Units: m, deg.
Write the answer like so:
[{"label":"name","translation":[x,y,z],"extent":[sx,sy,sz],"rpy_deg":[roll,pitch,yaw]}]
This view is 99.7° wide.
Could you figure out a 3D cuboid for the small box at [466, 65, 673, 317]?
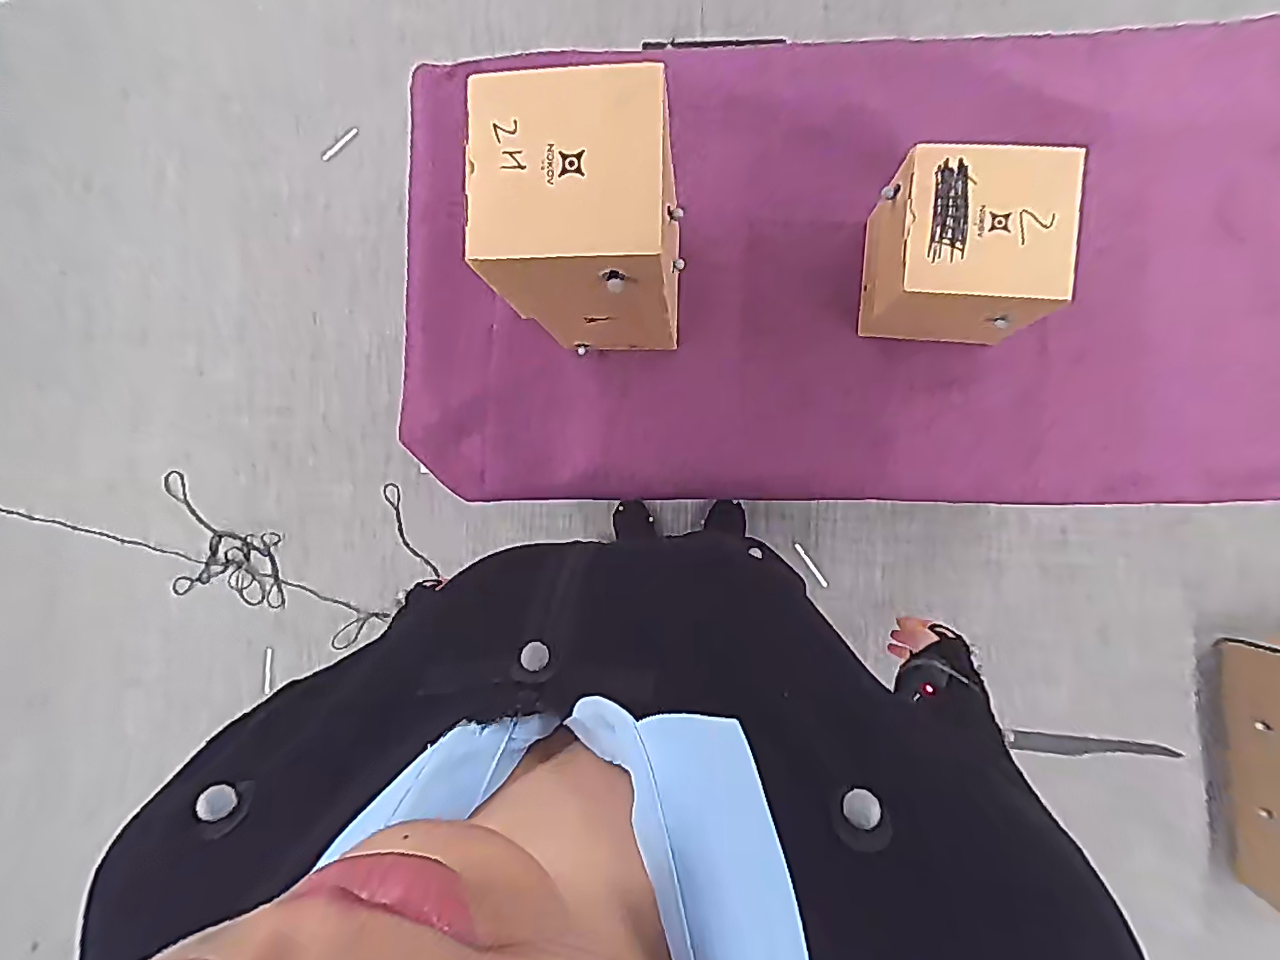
[{"label":"small box","translation":[-0.057,-0.271,0.544],"extent":[0.179,0.176,0.168],"rpy_deg":[1,89,6]}]

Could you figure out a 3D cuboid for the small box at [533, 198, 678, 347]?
[{"label":"small box","translation":[-0.036,-0.277,0.707],"extent":[0.168,0.176,0.179],"rpy_deg":[2,89,6]}]
